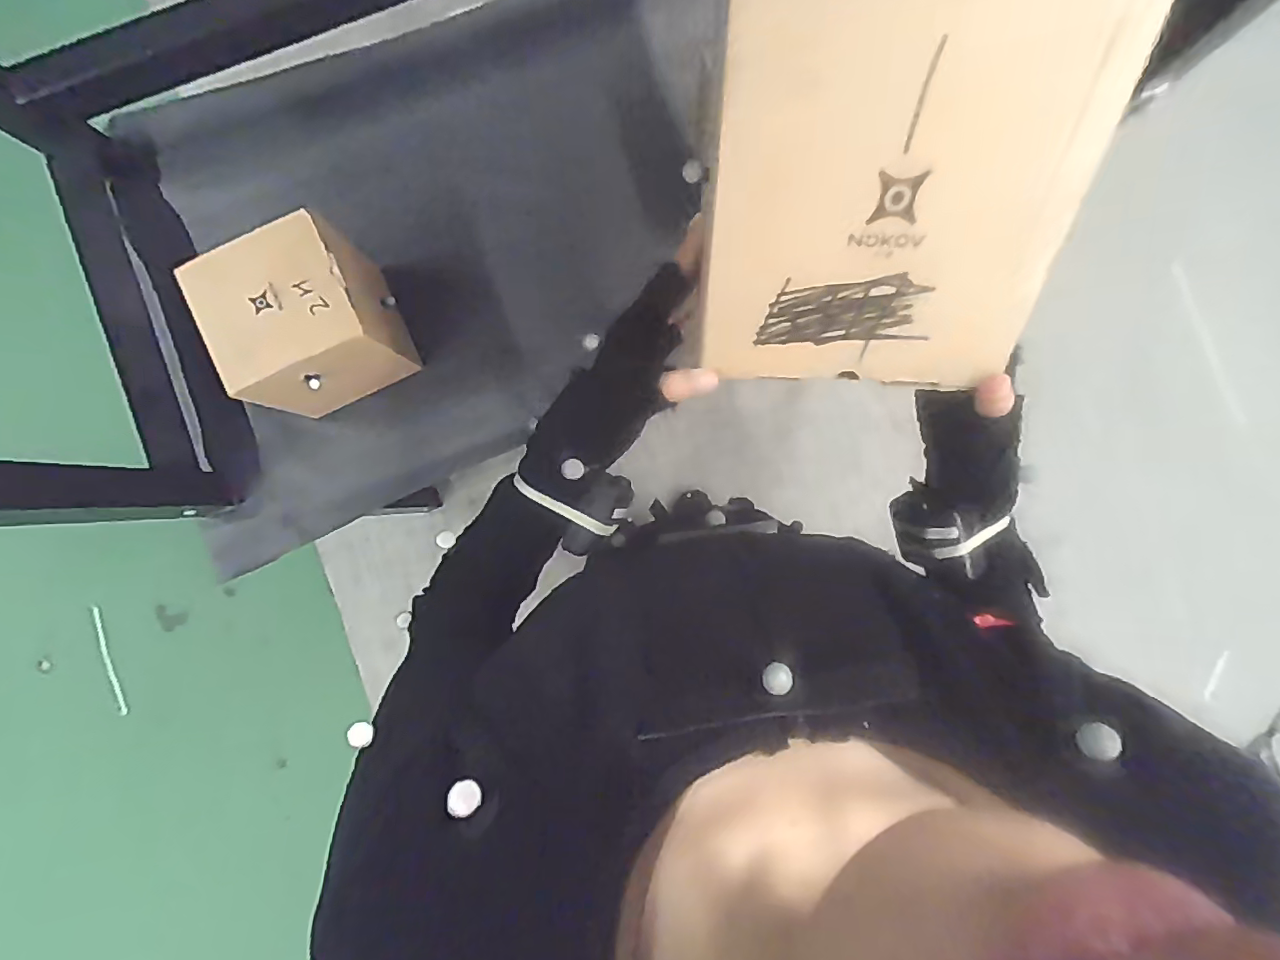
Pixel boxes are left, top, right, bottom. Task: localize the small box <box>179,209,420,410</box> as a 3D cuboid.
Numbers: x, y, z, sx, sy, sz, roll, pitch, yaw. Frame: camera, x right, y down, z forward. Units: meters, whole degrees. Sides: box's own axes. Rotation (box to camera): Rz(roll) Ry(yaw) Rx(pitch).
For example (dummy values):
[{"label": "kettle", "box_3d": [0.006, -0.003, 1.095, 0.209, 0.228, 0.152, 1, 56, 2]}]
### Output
[{"label": "small box", "box_3d": [-0.426, -0.206, 0.707, 0.179, 0.176, 0.168, -25, 88, 0]}]
